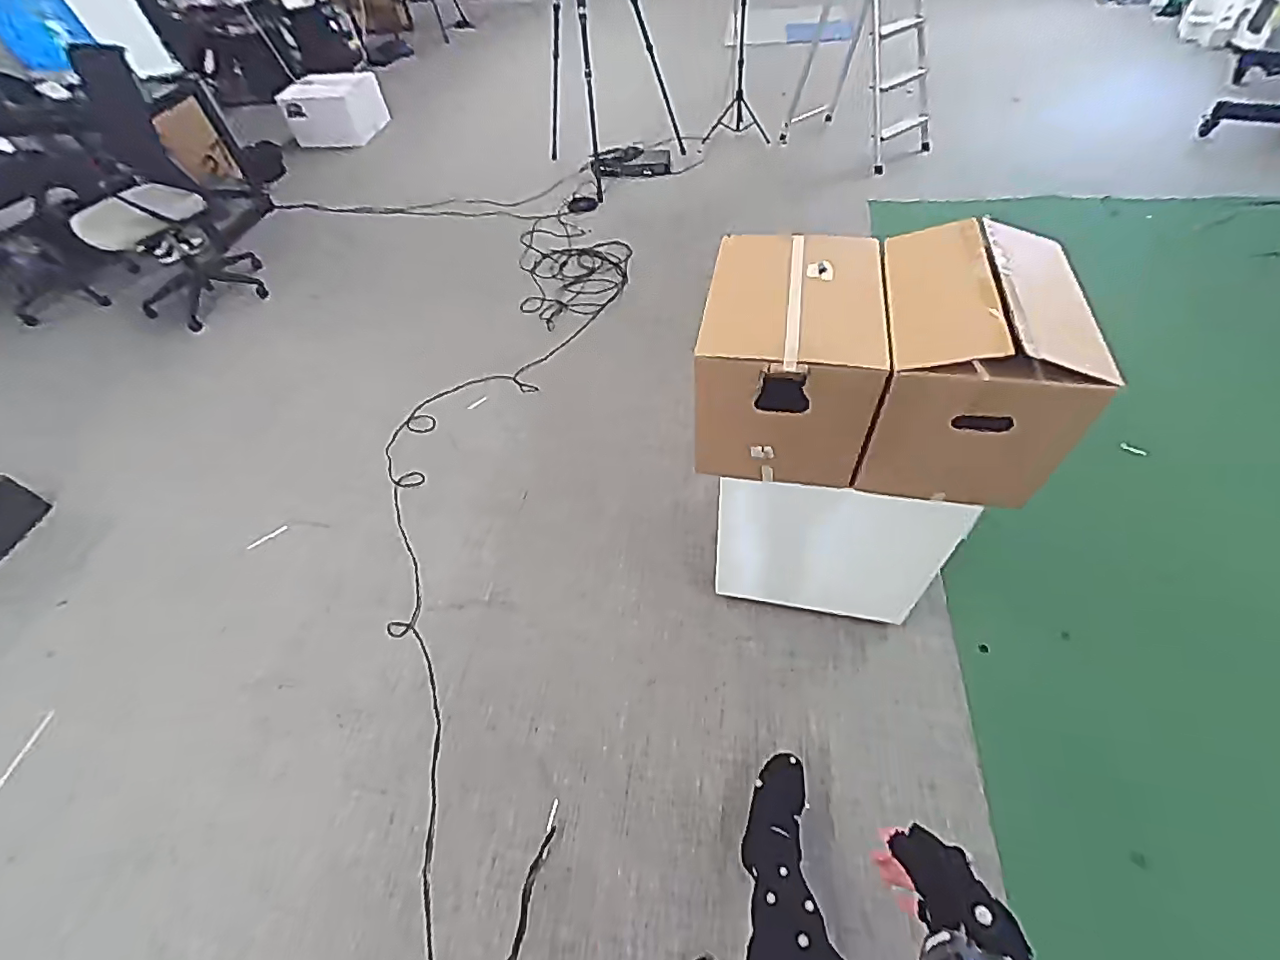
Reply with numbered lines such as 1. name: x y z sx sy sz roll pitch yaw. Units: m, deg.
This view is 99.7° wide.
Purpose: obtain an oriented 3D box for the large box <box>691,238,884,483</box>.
1. large box: 0.287 -0.245 1.109 0.320 0.320 0.408 6 52 12
